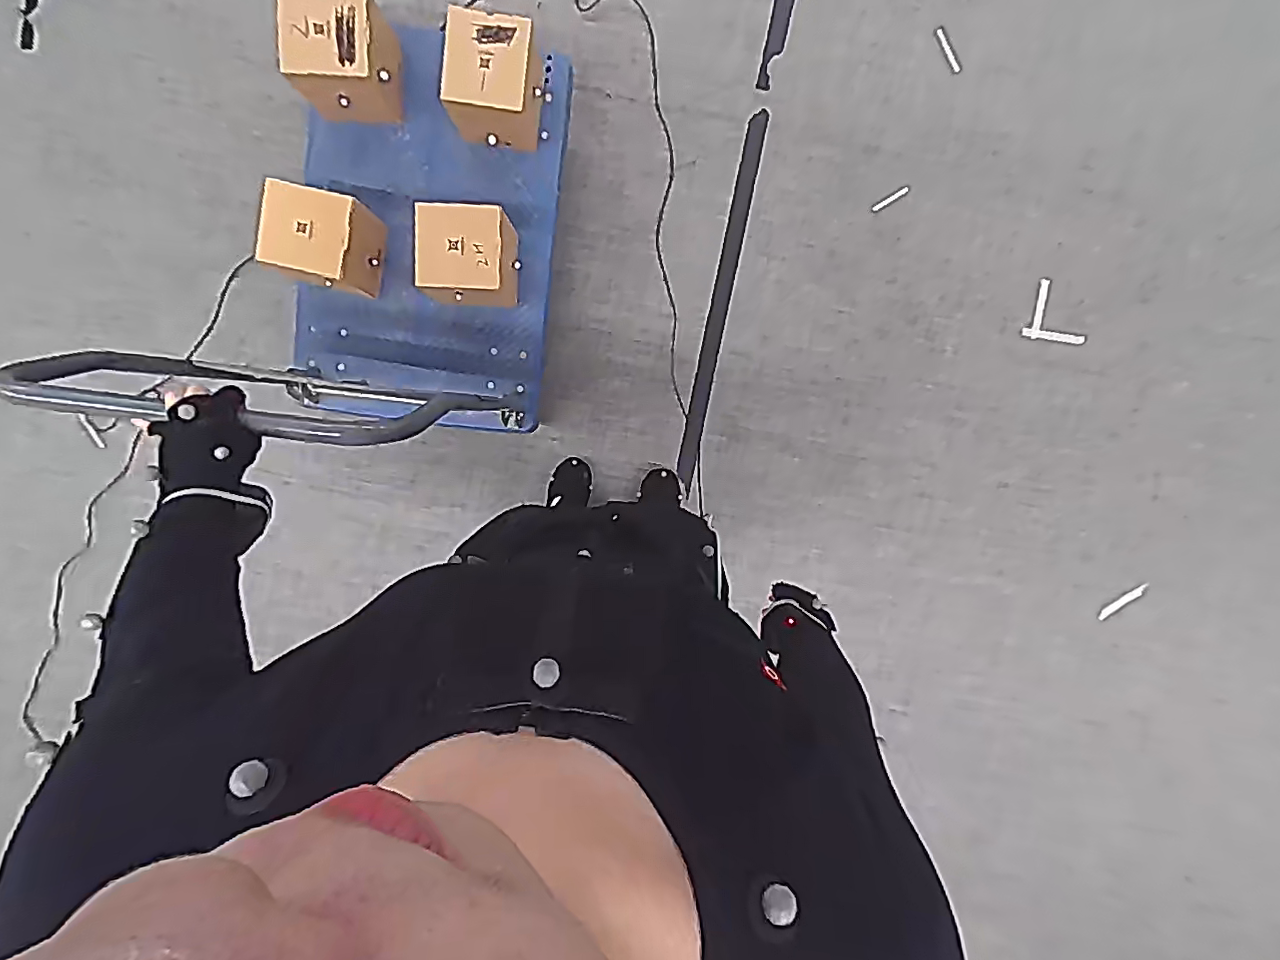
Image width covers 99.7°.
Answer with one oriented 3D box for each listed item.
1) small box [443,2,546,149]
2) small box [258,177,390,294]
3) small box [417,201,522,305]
[{"bbox_3d":[-0.297,-0.835,1.134,0.168,0.176,0.179,8,97,-2],"label":"small box"},{"bbox_3d":[-0.669,-0.514,1.162,0.179,0.176,0.168,11,95,-4],"label":"small box"},{"bbox_3d":[-0.363,-0.482,1.170,0.179,0.176,0.168,2,96,-1],"label":"small box"}]
